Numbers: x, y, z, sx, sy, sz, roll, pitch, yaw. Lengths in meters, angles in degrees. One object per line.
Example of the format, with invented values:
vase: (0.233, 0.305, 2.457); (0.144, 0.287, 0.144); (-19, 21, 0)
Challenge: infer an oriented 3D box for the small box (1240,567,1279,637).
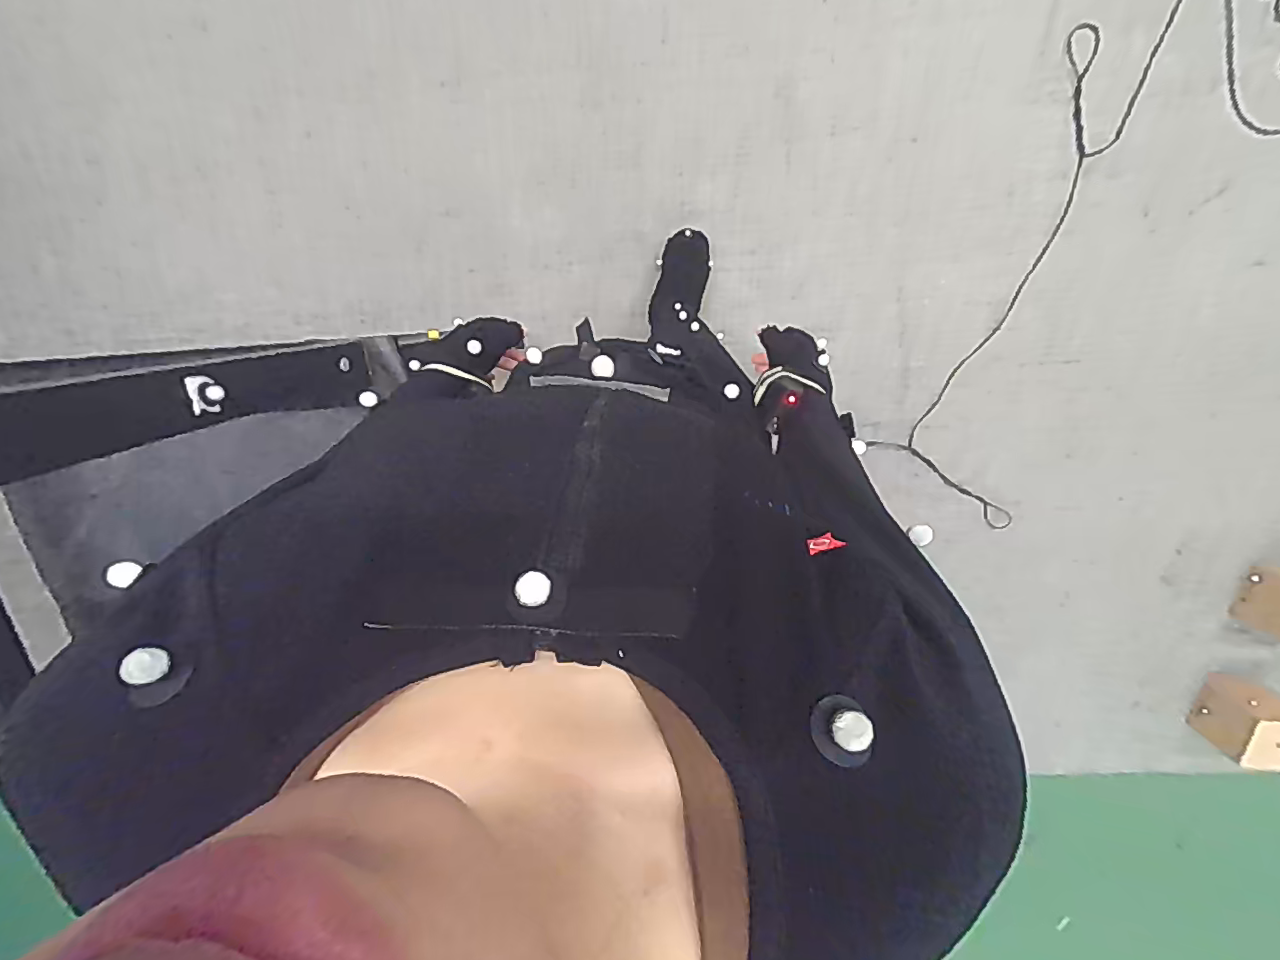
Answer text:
small box: (1.781, 0.343, 1.432); (0.179, 0.176, 0.168); (4, 109, 1)
